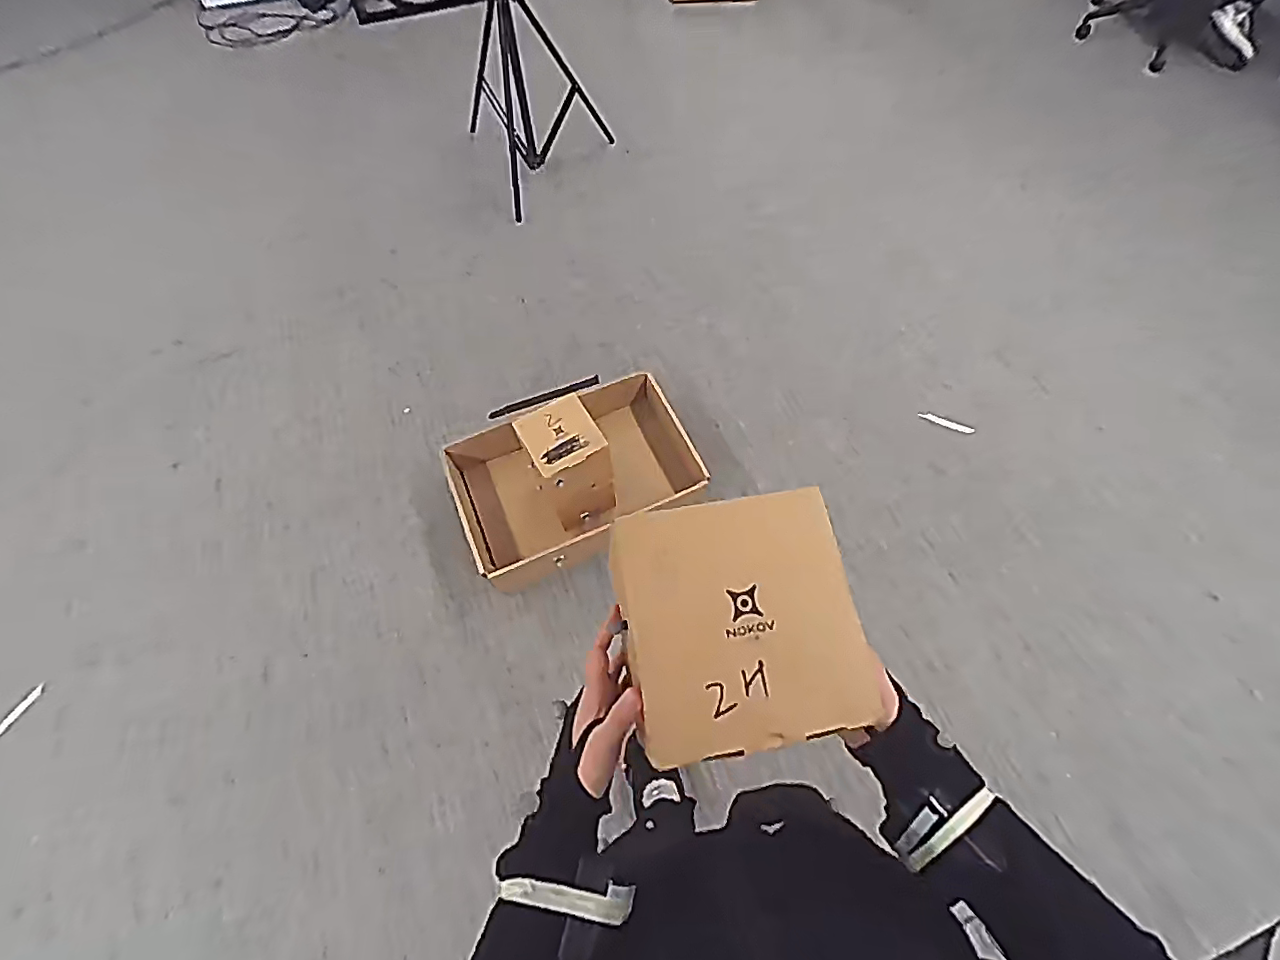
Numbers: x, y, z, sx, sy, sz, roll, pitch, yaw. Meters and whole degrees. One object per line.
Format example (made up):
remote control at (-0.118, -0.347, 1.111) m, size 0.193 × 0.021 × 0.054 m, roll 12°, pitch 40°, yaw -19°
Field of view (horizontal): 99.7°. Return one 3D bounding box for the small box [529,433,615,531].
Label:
small box at (-0.178, 0.010, 1.454) m, size 0.168 × 0.176 × 0.179 m, roll -28°, pitch 68°, yaw -12°

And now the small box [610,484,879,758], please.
small box at (0.067, 0.120, 0.467) m, size 0.168 × 0.176 × 0.179 m, roll -8°, pitch 72°, yaw -7°
